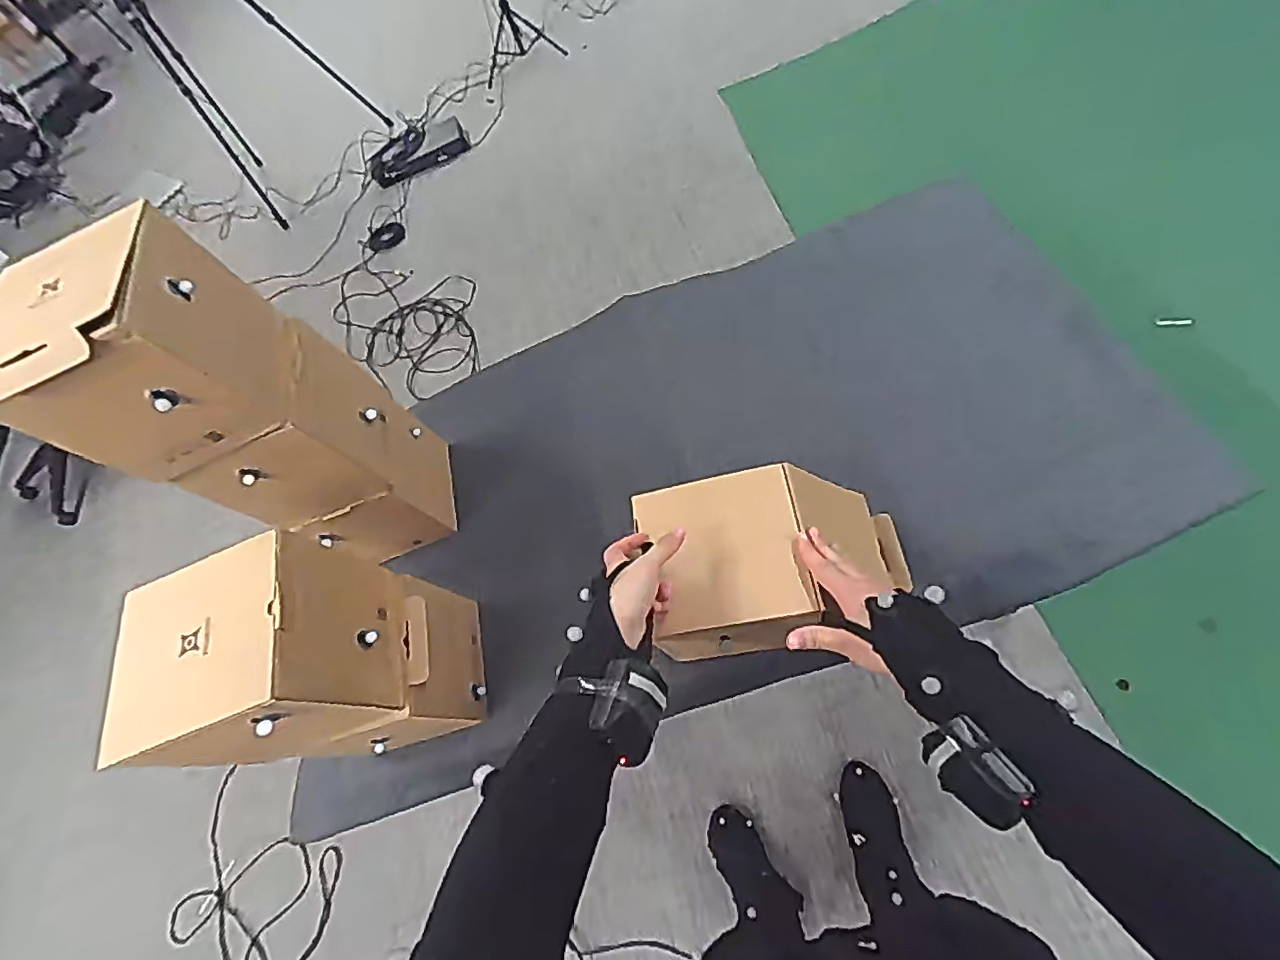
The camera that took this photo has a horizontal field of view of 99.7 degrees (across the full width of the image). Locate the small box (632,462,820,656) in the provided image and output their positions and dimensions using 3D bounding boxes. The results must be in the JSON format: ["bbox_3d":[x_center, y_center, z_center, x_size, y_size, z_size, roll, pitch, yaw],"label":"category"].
[{"bbox_3d":[0.102,0.103,0.633,0.179,0.176,0.168,-12,63,10],"label":"small box"}]

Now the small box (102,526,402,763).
[{"bbox_3d":[-0.378,0.176,0.557,0.179,0.176,0.168,-23,61,5],"label":"small box"}]

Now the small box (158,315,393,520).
[{"bbox_3d":[-0.445,-0.067,0.687,0.179,0.176,0.168,-20,63,7],"label":"small box"}]

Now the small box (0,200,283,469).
[{"bbox_3d":[-0.493,-0.130,0.545,0.168,0.176,0.179,-23,61,4],"label":"small box"}]

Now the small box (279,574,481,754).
[{"bbox_3d":[-0.321,0.239,0.696,0.179,0.176,0.168,-20,62,8],"label":"small box"}]
